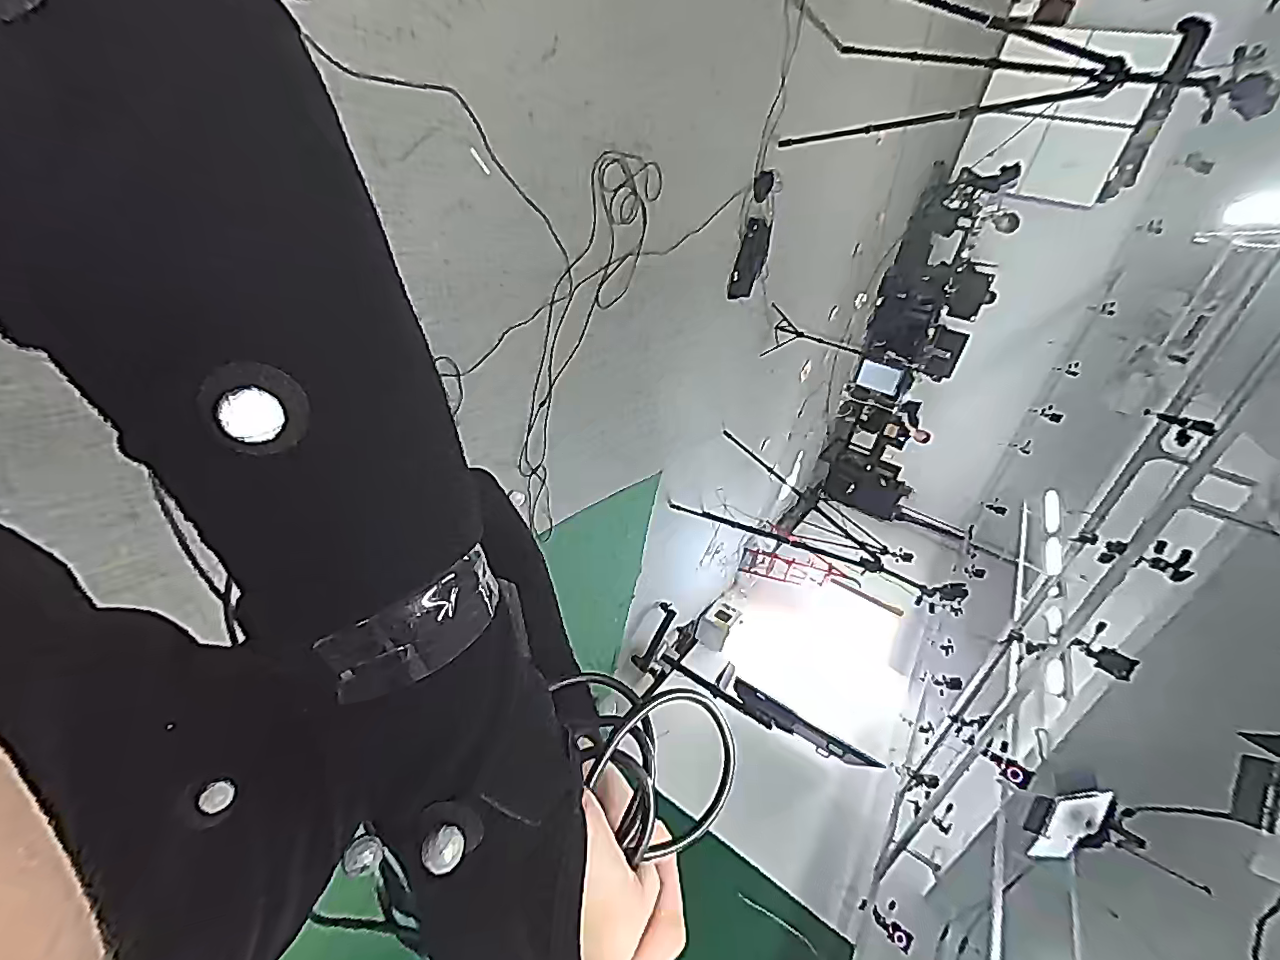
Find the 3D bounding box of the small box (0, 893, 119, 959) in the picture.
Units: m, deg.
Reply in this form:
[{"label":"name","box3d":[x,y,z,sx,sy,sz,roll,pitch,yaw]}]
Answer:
[{"label":"small box","box3d":[-1.427,1.176,1.331,0.168,0.176,0.179,-20,131,-54]}]
